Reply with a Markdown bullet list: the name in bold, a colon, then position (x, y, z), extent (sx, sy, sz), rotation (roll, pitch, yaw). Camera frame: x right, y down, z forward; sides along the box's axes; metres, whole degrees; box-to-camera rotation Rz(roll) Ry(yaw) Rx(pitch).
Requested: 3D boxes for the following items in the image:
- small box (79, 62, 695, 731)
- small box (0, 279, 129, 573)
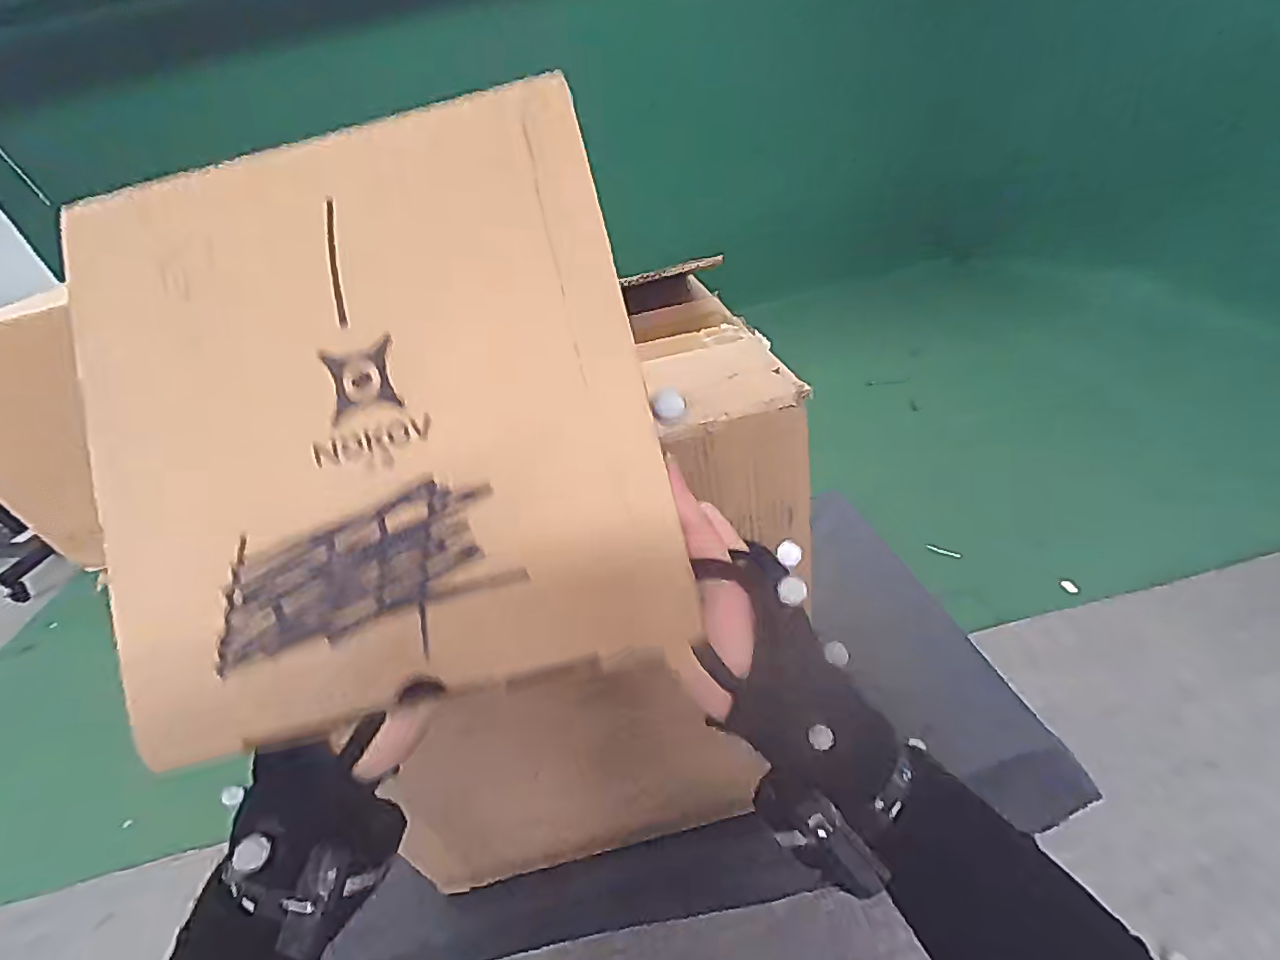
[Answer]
- **small box**: position (-0.076, -0.021, 0.242), extent (0.168, 0.179, 0.176), rotation (-14, -7, 1)
- **small box**: position (-0.344, -0.063, 0.406), extent (0.168, 0.176, 0.179), rotation (-18, 36, -2)
